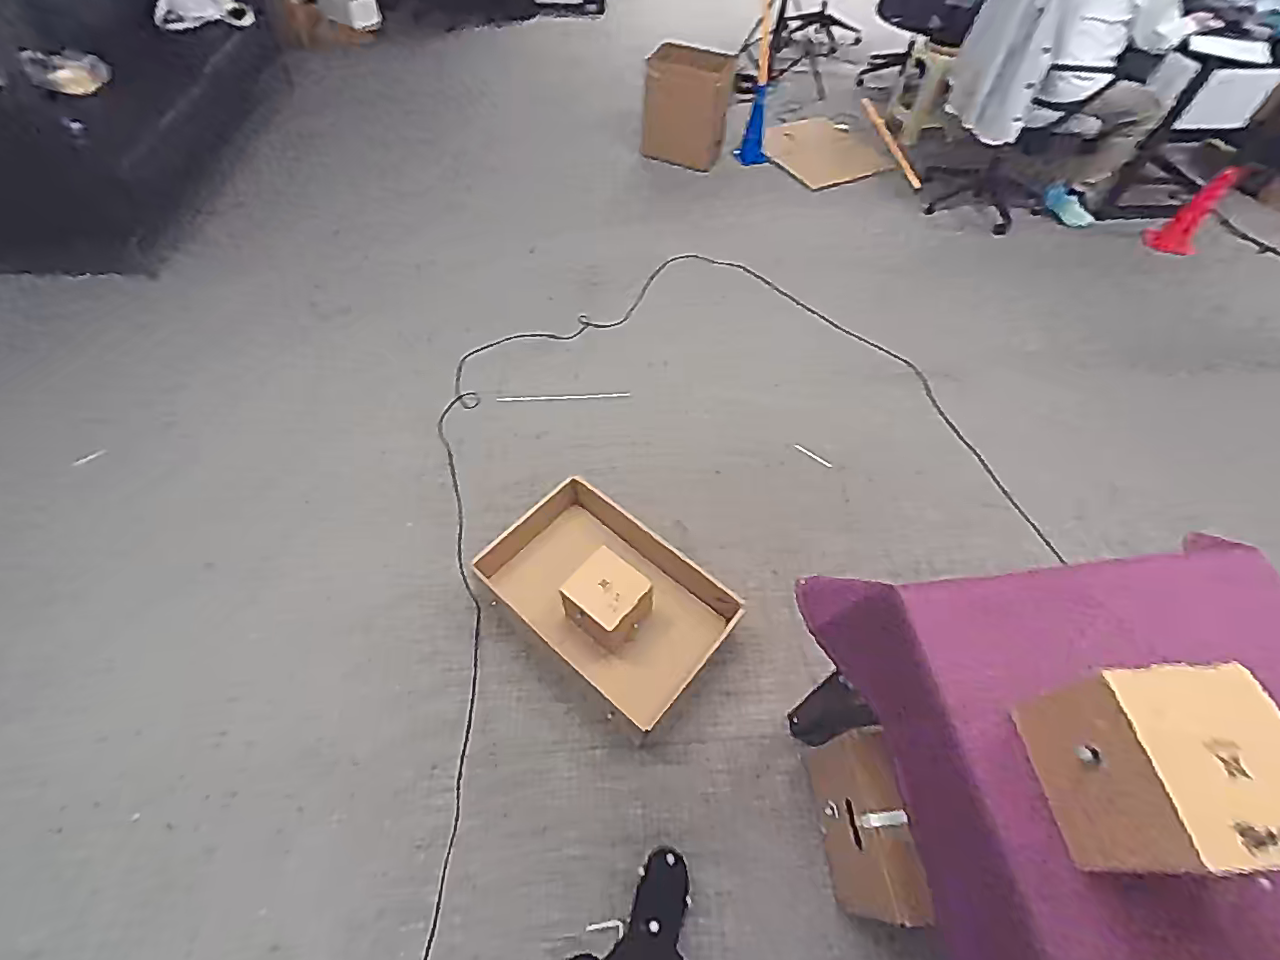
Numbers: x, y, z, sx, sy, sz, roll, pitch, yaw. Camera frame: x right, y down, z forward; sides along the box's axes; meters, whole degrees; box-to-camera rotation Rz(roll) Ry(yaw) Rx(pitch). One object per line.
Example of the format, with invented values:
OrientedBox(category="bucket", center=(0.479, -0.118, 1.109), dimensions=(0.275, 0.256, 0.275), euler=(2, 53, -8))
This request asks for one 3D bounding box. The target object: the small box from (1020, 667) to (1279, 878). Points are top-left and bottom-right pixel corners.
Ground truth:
OrientedBox(category="small box", center=(0.566, 0.319, 0.586), dimensions=(0.168, 0.176, 0.179), euler=(-2, 54, -3))

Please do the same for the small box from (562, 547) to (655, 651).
OrientedBox(category="small box", center=(-0.079, 0.313, 1.405), dimensions=(0.179, 0.176, 0.168), euler=(35, 62, 22))
